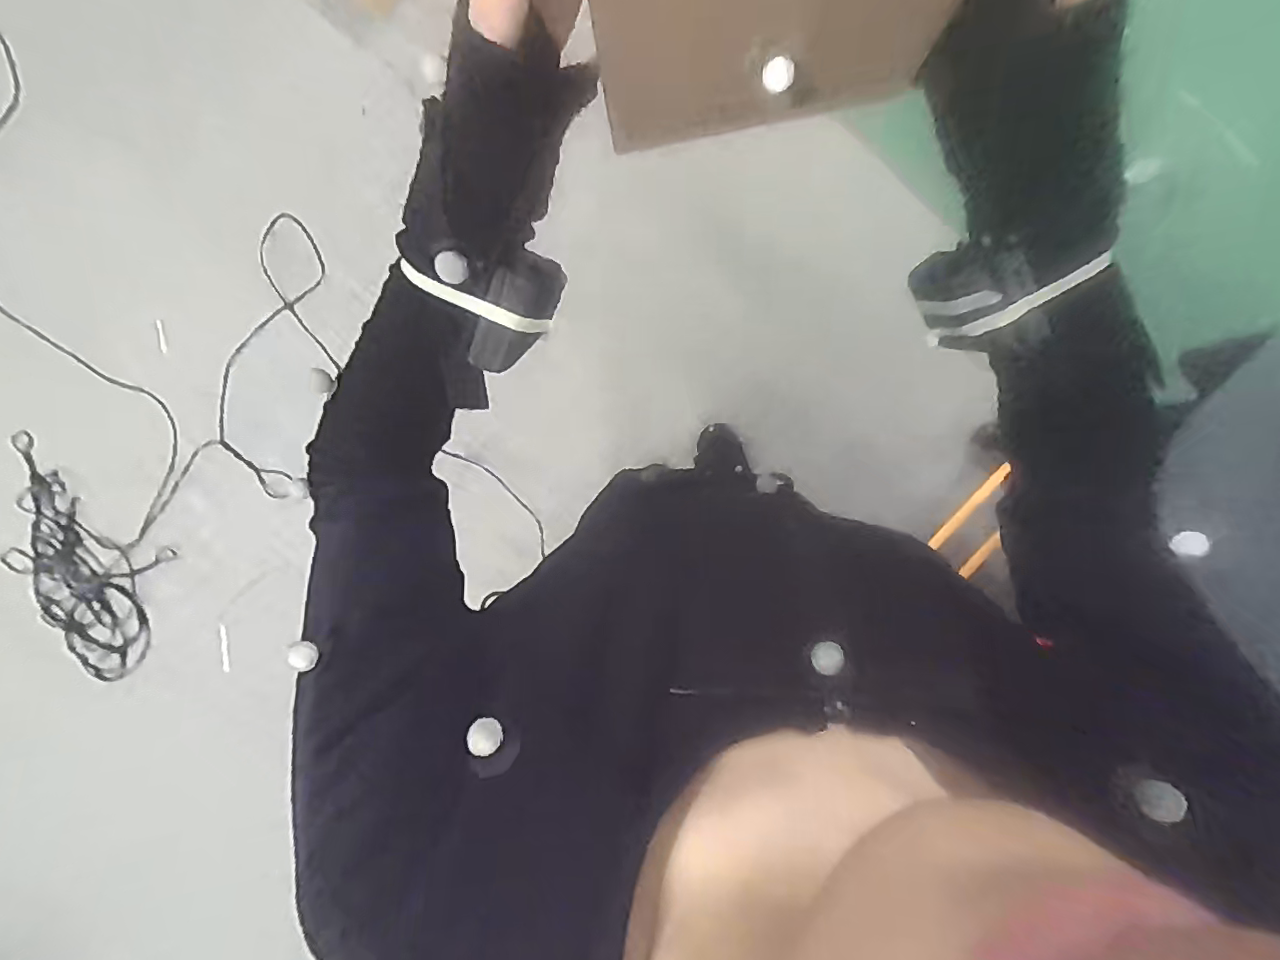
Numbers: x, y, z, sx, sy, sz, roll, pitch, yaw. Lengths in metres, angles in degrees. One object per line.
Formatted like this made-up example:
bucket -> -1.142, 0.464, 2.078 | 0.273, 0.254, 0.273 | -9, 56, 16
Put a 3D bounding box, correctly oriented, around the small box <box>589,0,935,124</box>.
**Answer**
small box -> 0.046, -0.297, 0.223 | 0.168, 0.176, 0.179 | -10, 90, 4
